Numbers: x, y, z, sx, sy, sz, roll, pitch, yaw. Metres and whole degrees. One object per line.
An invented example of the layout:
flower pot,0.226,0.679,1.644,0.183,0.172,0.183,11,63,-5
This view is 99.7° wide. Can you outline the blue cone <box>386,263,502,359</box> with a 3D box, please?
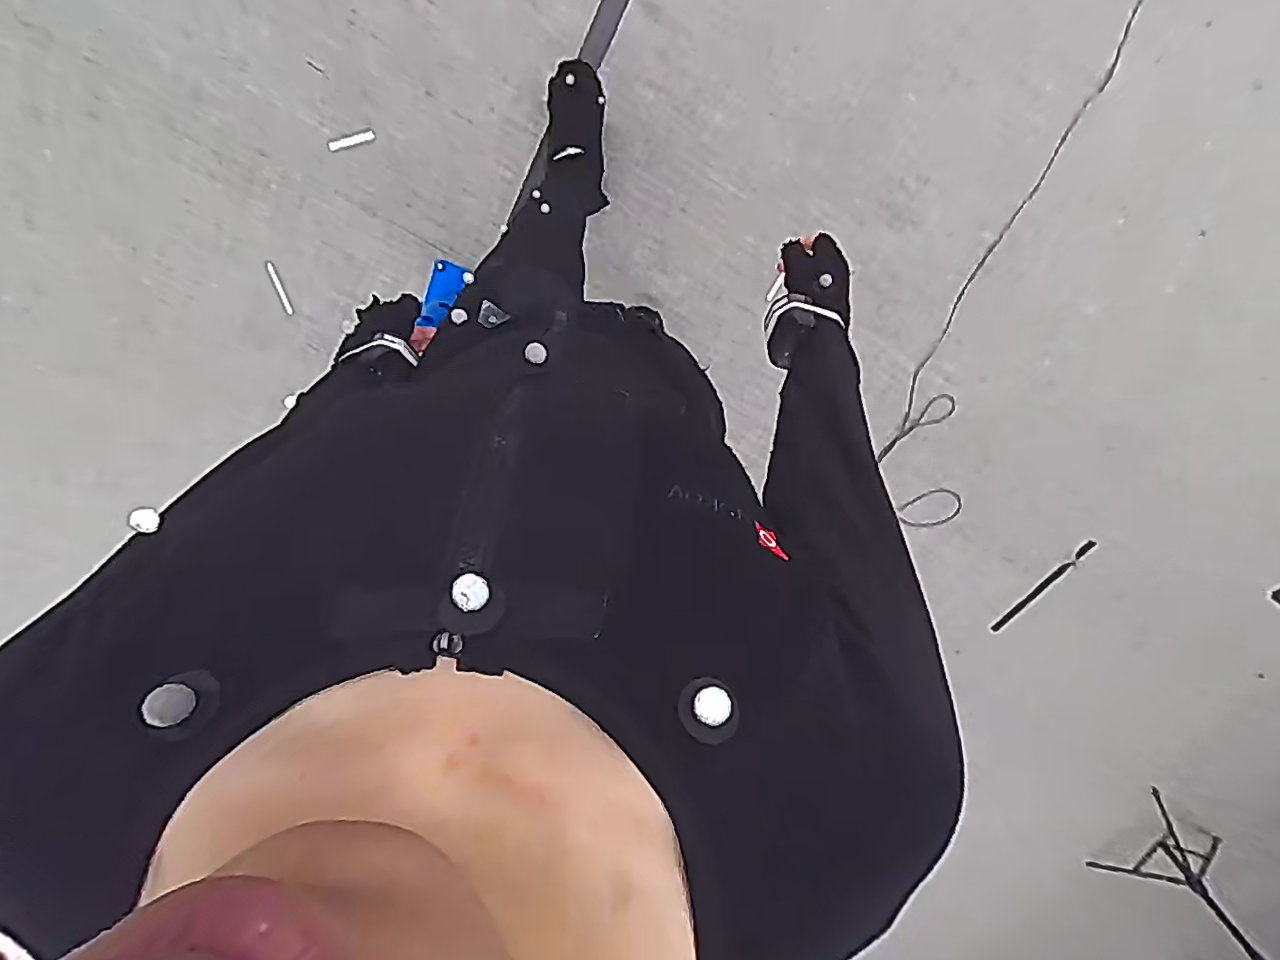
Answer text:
blue cone,-0.450,-0.345,1.188,0.192,0.380,0.193,24,112,-10
